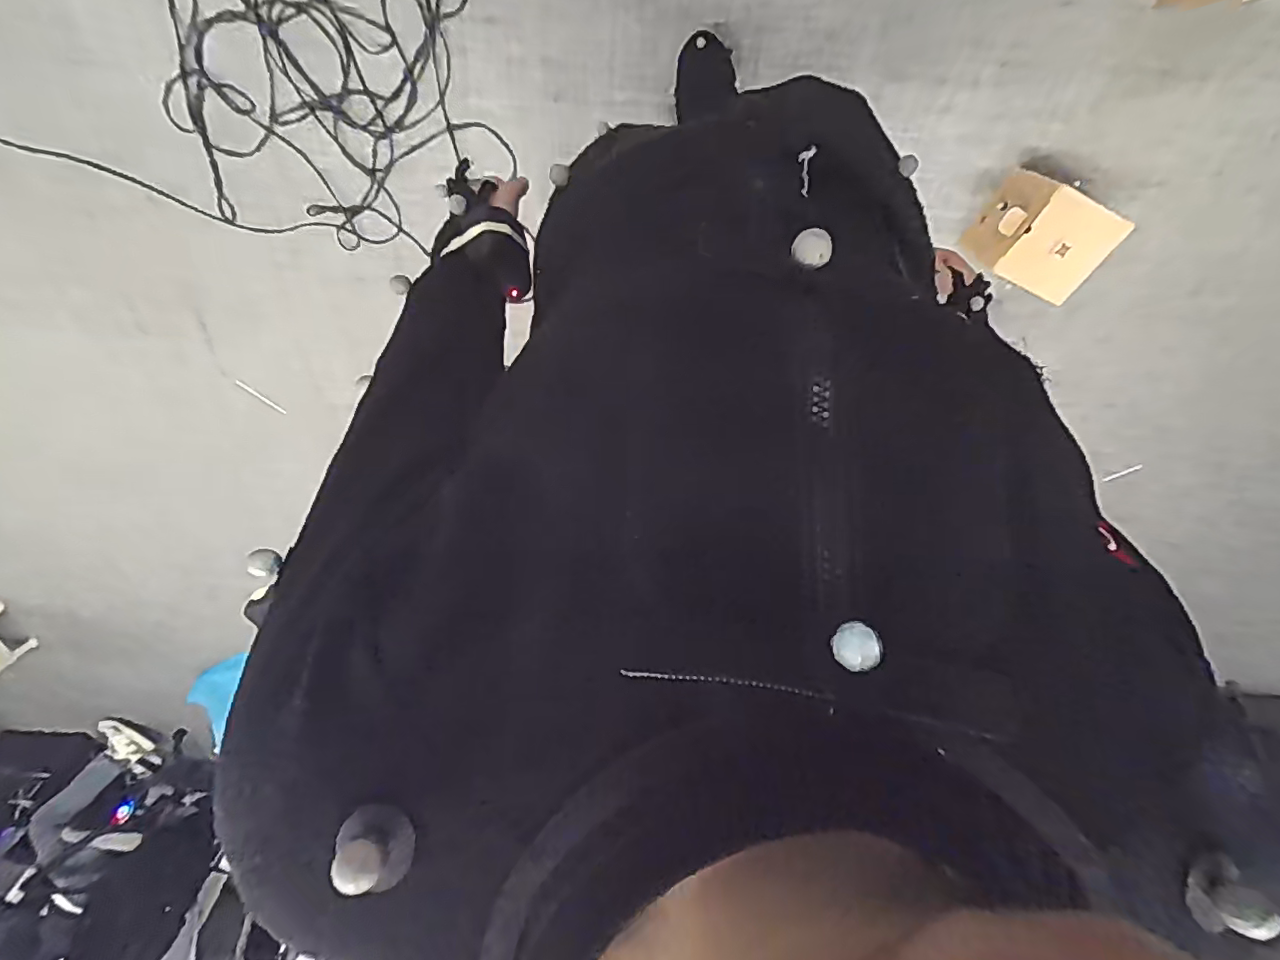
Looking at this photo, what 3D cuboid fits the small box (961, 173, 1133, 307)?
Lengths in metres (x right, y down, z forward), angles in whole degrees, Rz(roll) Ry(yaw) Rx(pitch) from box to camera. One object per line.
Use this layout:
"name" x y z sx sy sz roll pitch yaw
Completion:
"small box" 0.784 -0.475 1.062 0.179 0.176 0.168 19 128 -12
